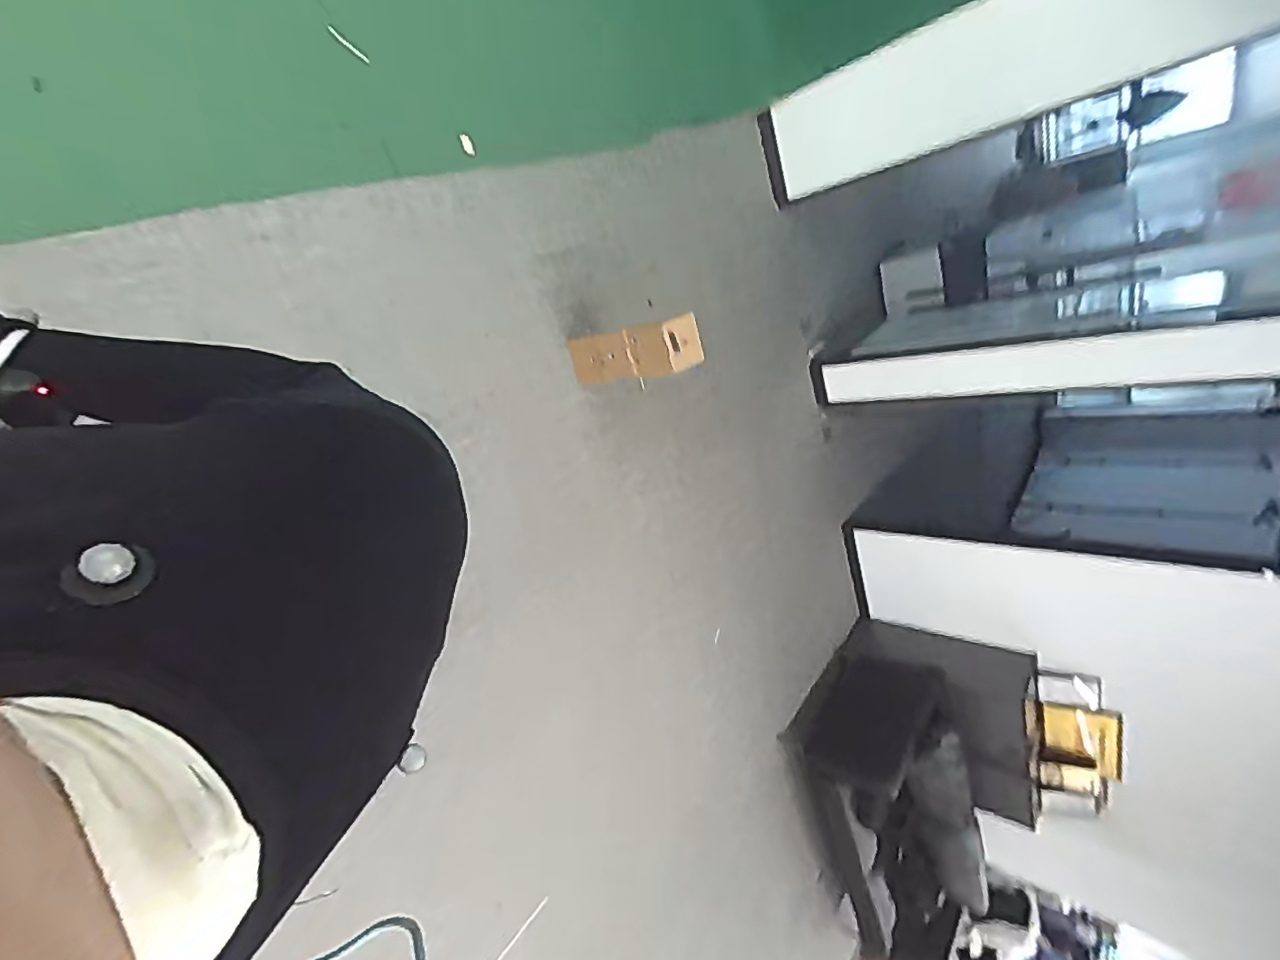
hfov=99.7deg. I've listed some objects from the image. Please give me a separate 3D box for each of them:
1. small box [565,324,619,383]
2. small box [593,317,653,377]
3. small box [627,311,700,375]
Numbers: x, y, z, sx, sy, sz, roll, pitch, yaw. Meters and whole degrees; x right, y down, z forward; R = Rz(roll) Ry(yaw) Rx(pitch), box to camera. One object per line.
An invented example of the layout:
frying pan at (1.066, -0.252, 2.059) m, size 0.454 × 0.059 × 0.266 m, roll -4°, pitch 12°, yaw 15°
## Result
small box at (-0.162, -0.483, 2.073) m, size 0.168 × 0.176 × 0.179 m, roll -31°, pitch 114°, yaw -39°
small box at (-0.051, -0.477, 1.954) m, size 0.179 × 0.176 × 0.168 m, roll -31°, pitch 114°, yaw -38°
small box at (0.074, -0.464, 1.846) m, size 0.179 × 0.176 × 0.168 m, roll -33°, pitch 115°, yaw -39°
